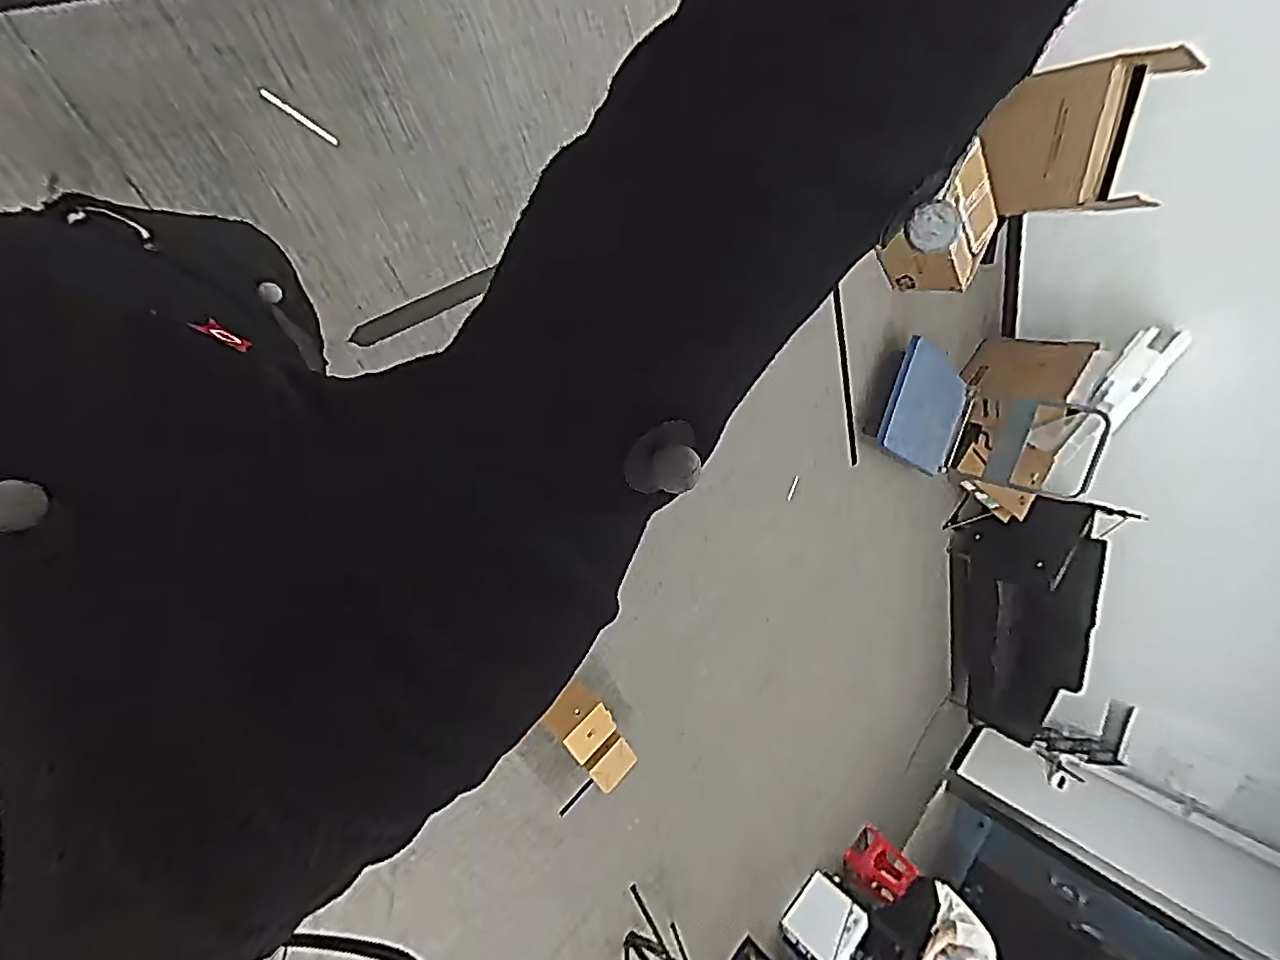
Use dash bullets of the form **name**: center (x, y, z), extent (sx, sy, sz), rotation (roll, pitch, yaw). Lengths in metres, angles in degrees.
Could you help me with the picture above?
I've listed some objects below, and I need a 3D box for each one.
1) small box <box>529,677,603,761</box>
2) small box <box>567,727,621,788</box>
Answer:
- **small box**: center (-0.268, 0.840, 1.912), extent (0.179, 0.176, 0.168), rotation (-40, 128, -26)
- **small box**: center (-0.195, 1.014, 2.033), extent (0.168, 0.176, 0.179), rotation (-41, 128, -25)
